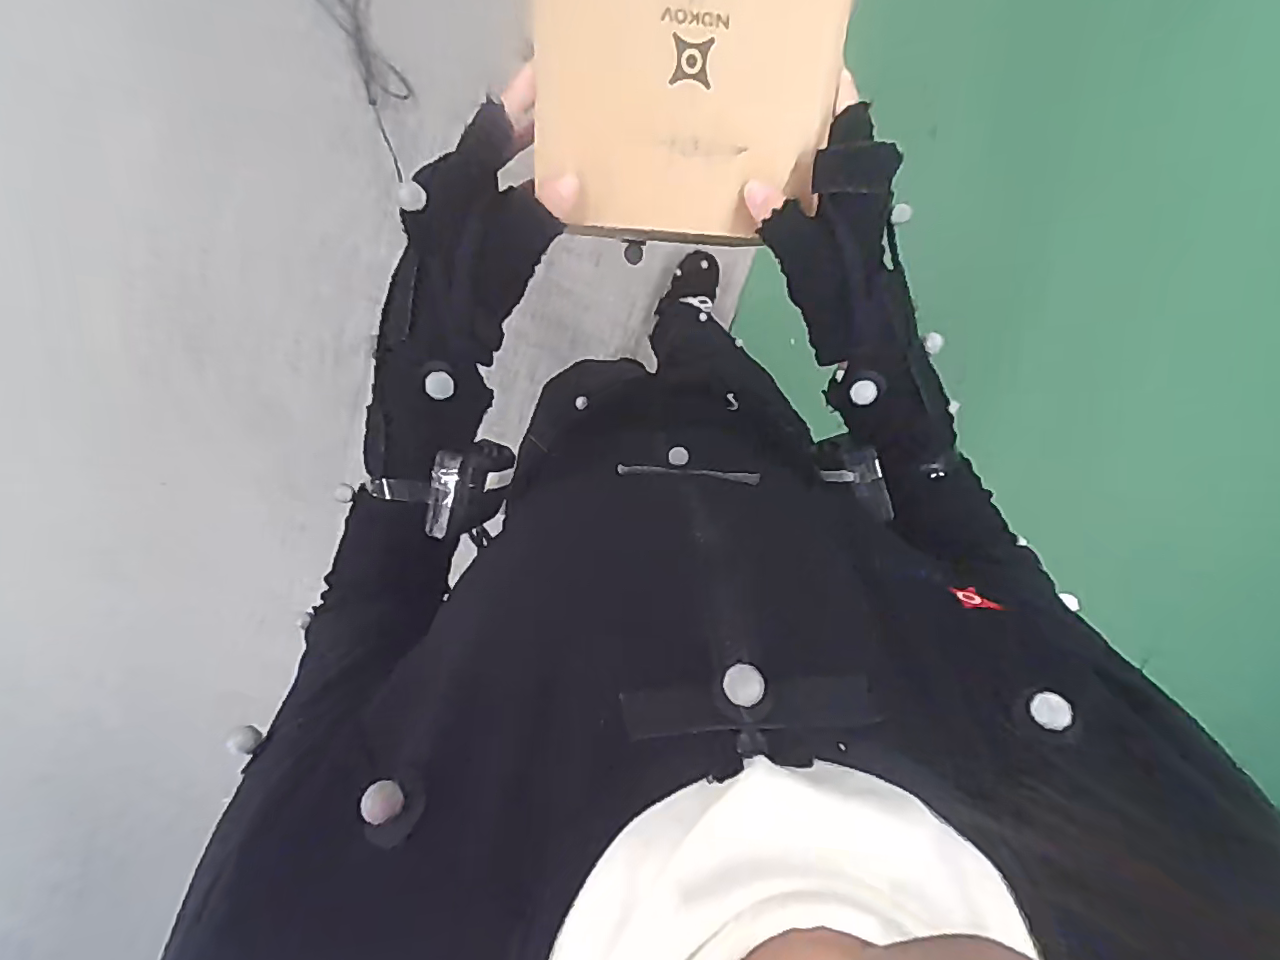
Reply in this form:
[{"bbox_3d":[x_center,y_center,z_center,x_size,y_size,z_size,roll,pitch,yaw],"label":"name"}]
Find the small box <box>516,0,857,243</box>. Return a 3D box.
[{"bbox_3d":[0.016,-0.252,0.335,0.168,0.176,0.179,3,112,-6],"label":"small box"}]
